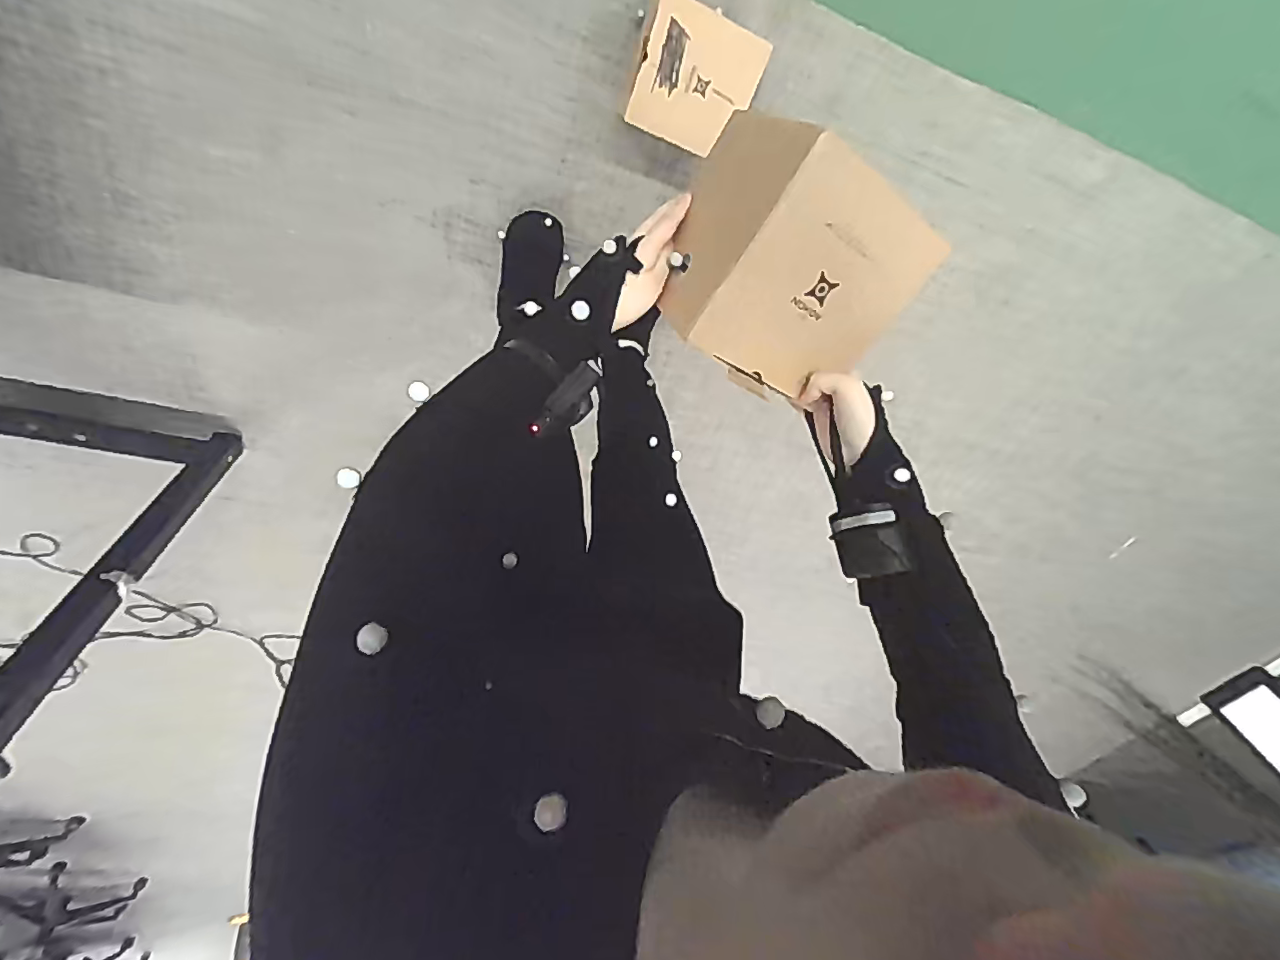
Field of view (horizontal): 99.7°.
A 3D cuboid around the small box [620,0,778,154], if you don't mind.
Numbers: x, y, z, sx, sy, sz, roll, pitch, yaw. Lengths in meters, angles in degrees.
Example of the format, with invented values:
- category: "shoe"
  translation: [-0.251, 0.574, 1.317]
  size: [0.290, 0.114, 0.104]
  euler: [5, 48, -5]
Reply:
- category: "small box"
  translation: [0.078, -0.625, 0.839]
  size: [0.179, 0.176, 0.168]
  euler: [14, 126, -18]

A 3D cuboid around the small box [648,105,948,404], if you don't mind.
- category: "small box"
  translation: [0.124, -0.206, 0.498]
  size: [0.168, 0.176, 0.179]
  euler: [20, 118, -30]
